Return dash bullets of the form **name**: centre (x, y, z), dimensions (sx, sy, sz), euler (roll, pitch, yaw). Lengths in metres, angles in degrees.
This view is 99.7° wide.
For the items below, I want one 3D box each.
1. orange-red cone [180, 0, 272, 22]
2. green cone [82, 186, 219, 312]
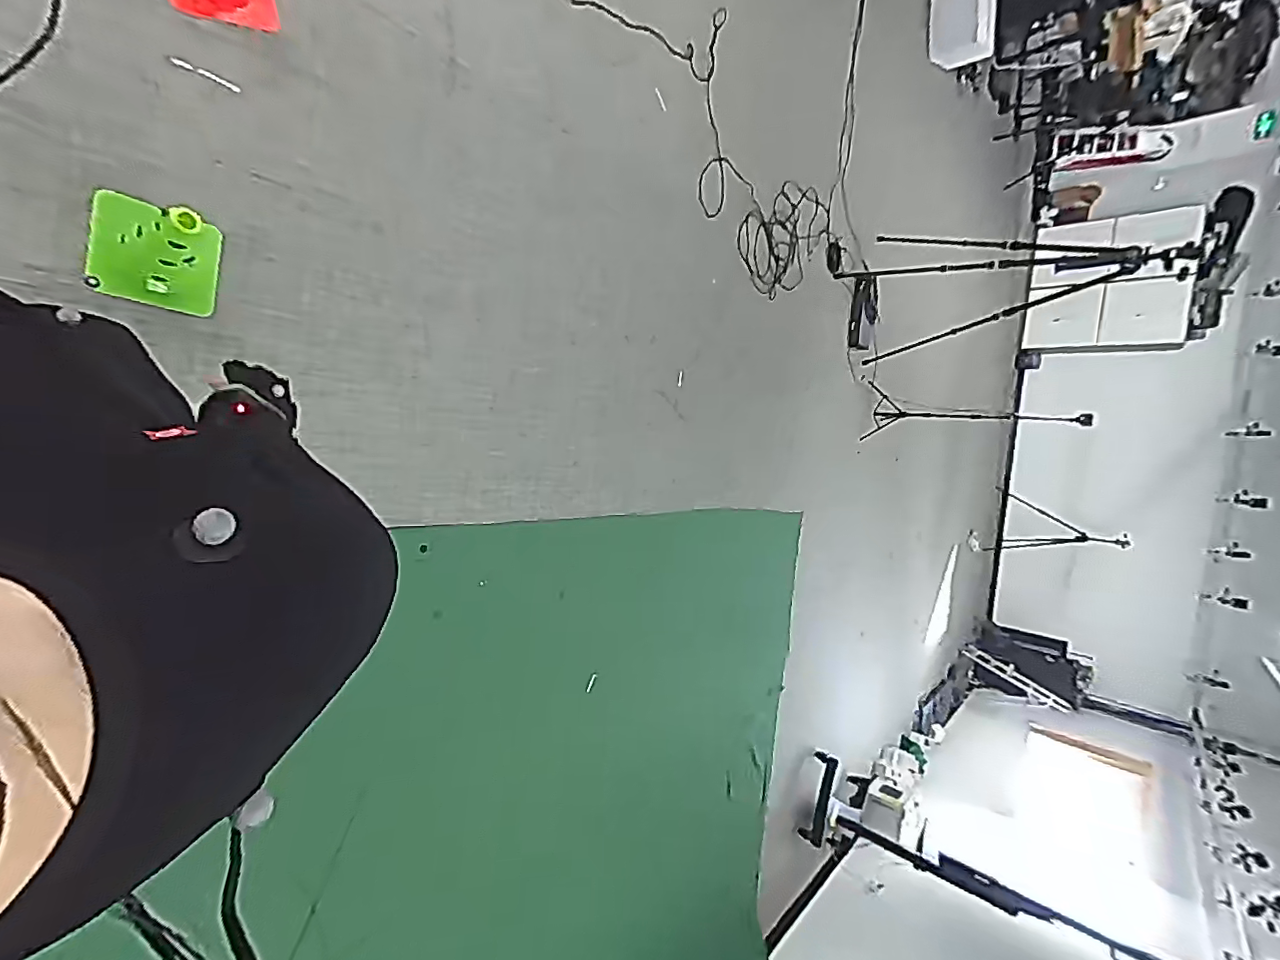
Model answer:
- **orange-red cone**: centre (-0.768, -1.063, 1.004), dimensions (0.198, 0.360, 0.199), euler (-23, 115, -43)
- **green cone**: centre (-0.868, -0.449, 0.994), dimensions (0.200, 0.368, 0.202), euler (5, 92, -49)
